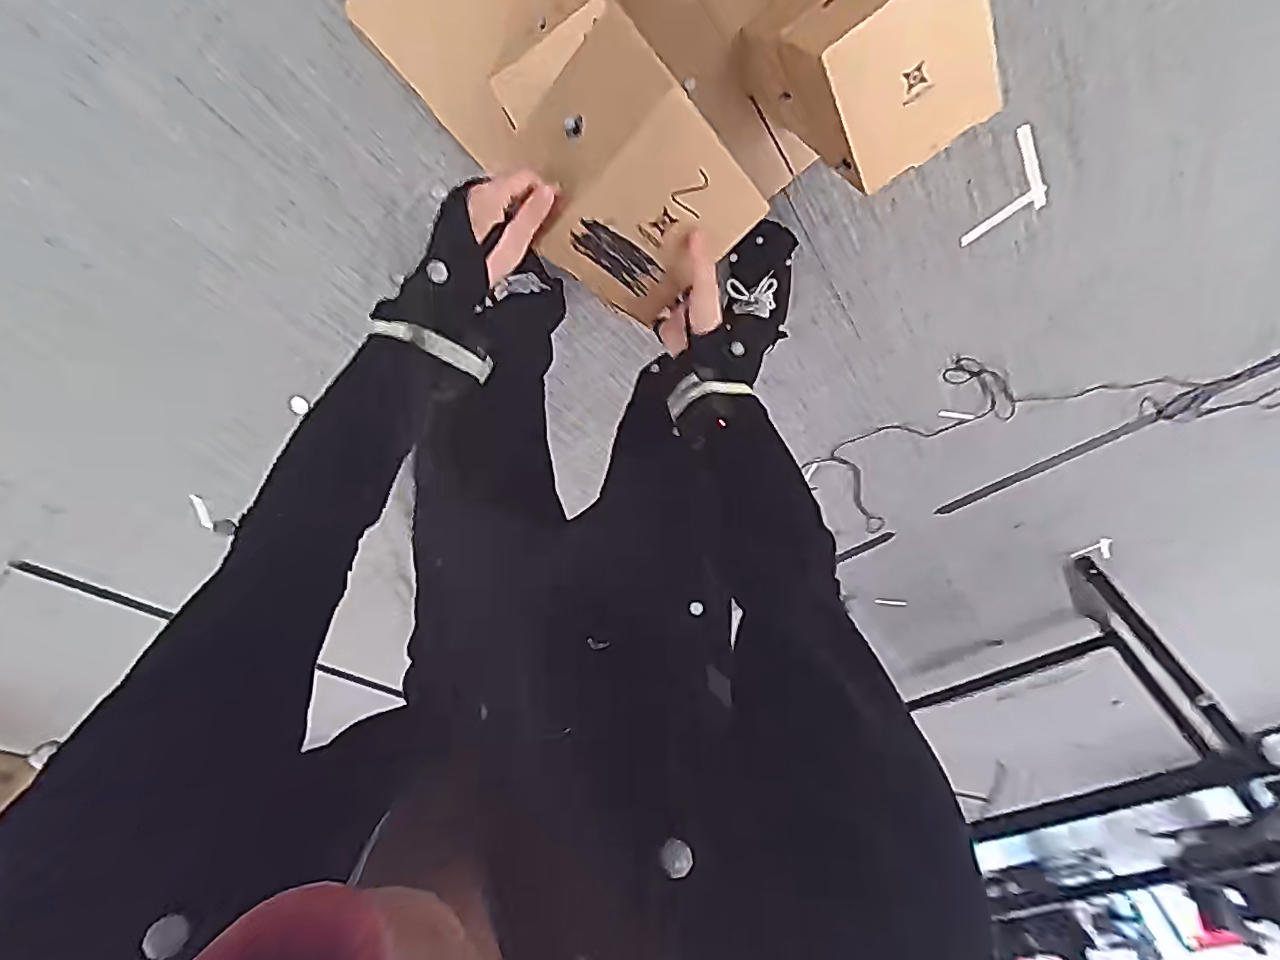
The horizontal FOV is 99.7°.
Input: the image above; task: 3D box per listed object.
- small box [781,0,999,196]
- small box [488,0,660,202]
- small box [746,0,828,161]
[{"bbox_3d":[0.292,-0.492,0.652,0.168,0.176,0.179,-29,133,19],"label":"small box"},{"bbox_3d":[-0.088,-0.543,0.773,0.179,0.176,0.168,-24,133,17],"label":"small box"},{"bbox_3d":[0.273,-0.605,0.769,0.168,0.176,0.179,-32,131,22],"label":"small box"}]
